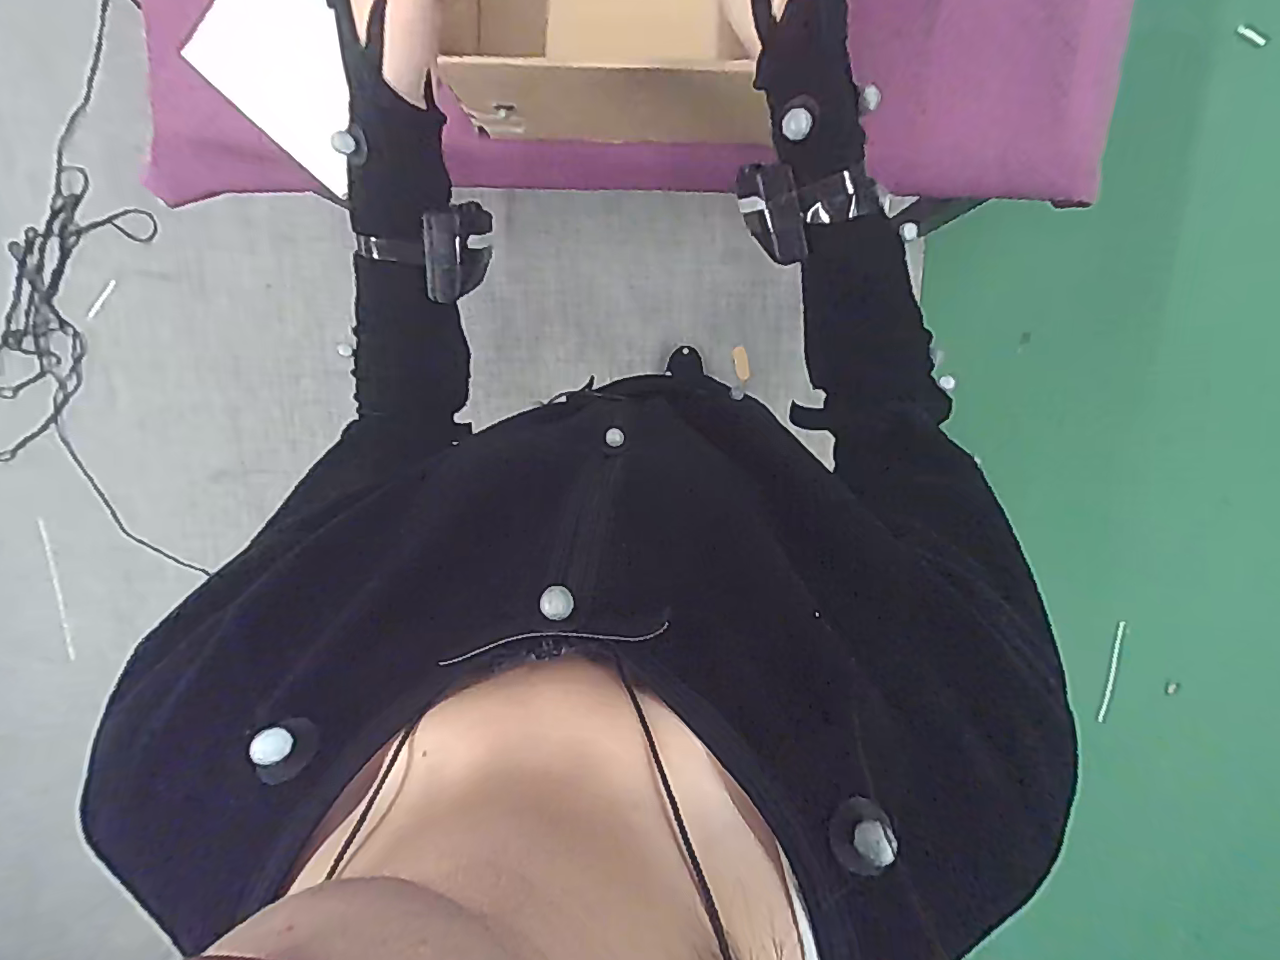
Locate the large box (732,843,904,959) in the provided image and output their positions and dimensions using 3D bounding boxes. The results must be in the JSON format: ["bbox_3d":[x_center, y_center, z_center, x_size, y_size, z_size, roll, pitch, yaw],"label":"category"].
[{"bbox_3d":[0.512,1.338,1.573,0.408,0.320,0.320,-13,100,4],"label":"large box"}]
